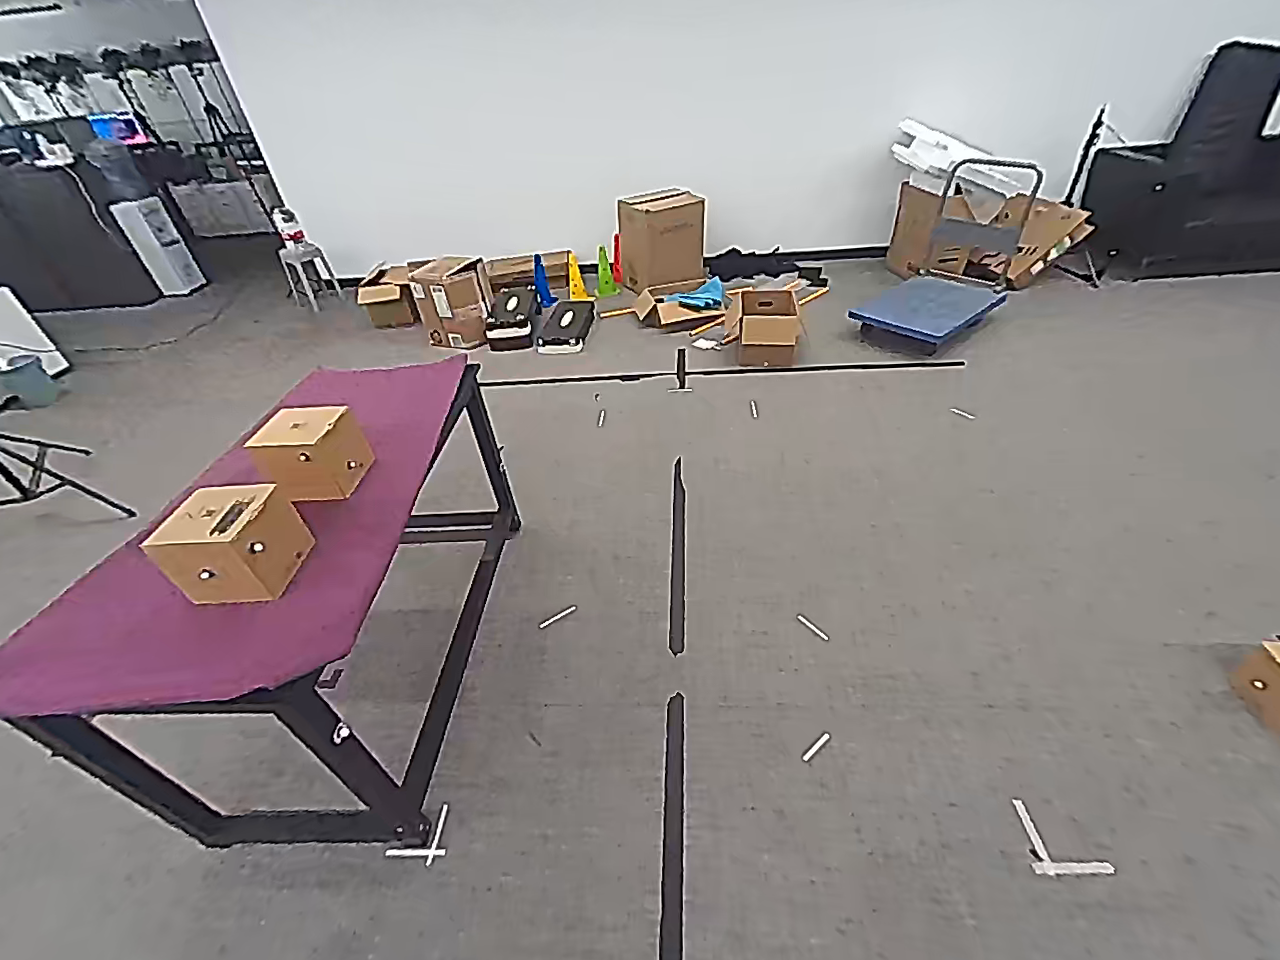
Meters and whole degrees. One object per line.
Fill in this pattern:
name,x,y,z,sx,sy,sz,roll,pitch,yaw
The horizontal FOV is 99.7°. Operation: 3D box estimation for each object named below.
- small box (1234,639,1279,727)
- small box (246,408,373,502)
small box,1.754,0.543,1.432,0.179,0.176,0.168,0,39,6
small box,-0.793,-0.059,1.320,0.179,0.176,0.168,-2,39,4
